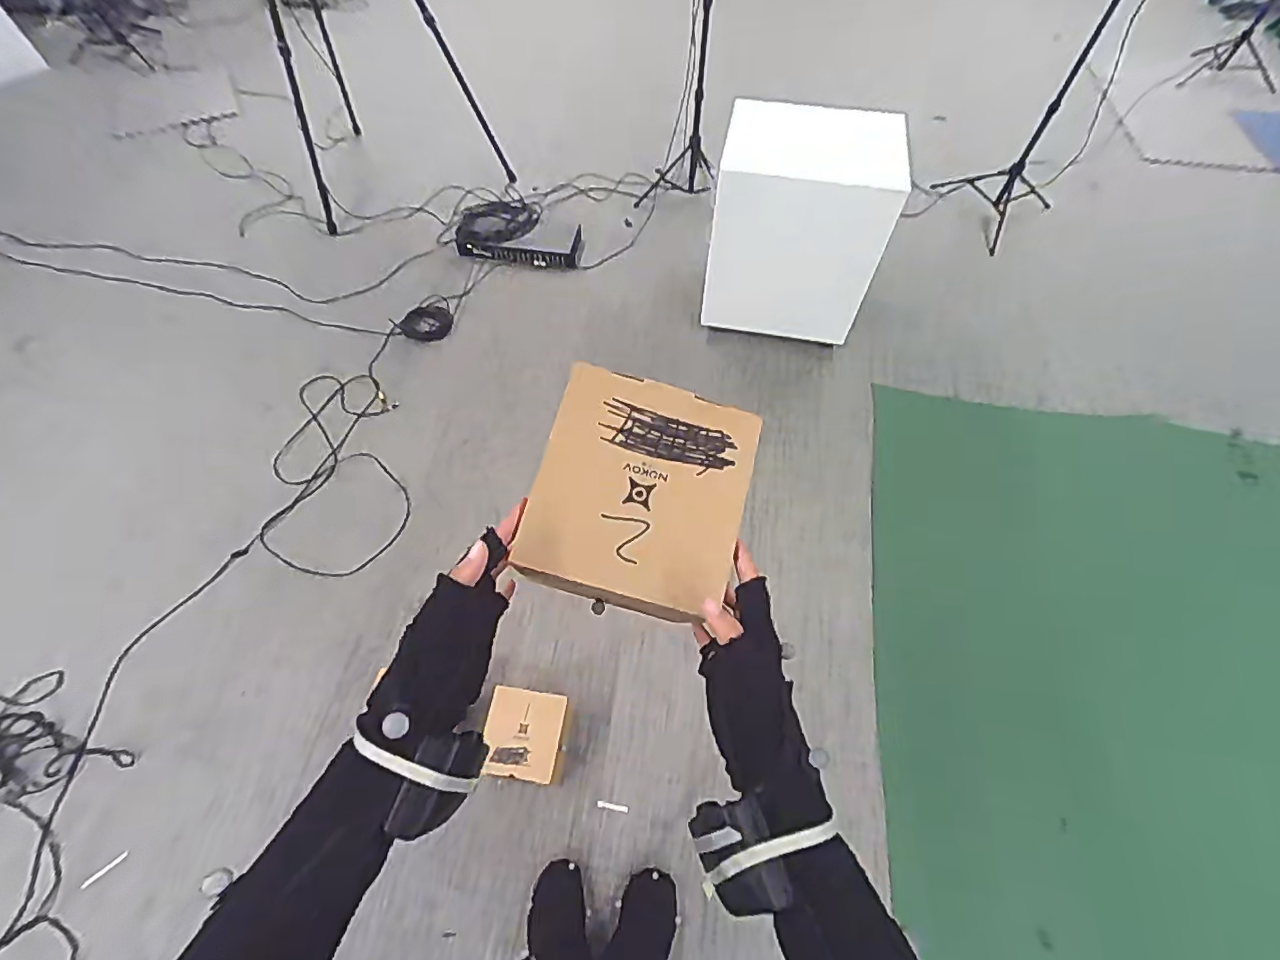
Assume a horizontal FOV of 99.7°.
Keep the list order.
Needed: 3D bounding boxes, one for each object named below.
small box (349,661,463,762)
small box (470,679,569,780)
[{"bbox_3d":[-0.526,0.538,1.249,0.168,0.176,0.179,8,59,5],"label":"small box"},{"bbox_3d":[-0.262,0.571,1.228,0.168,0.176,0.179,8,58,4],"label":"small box"}]
